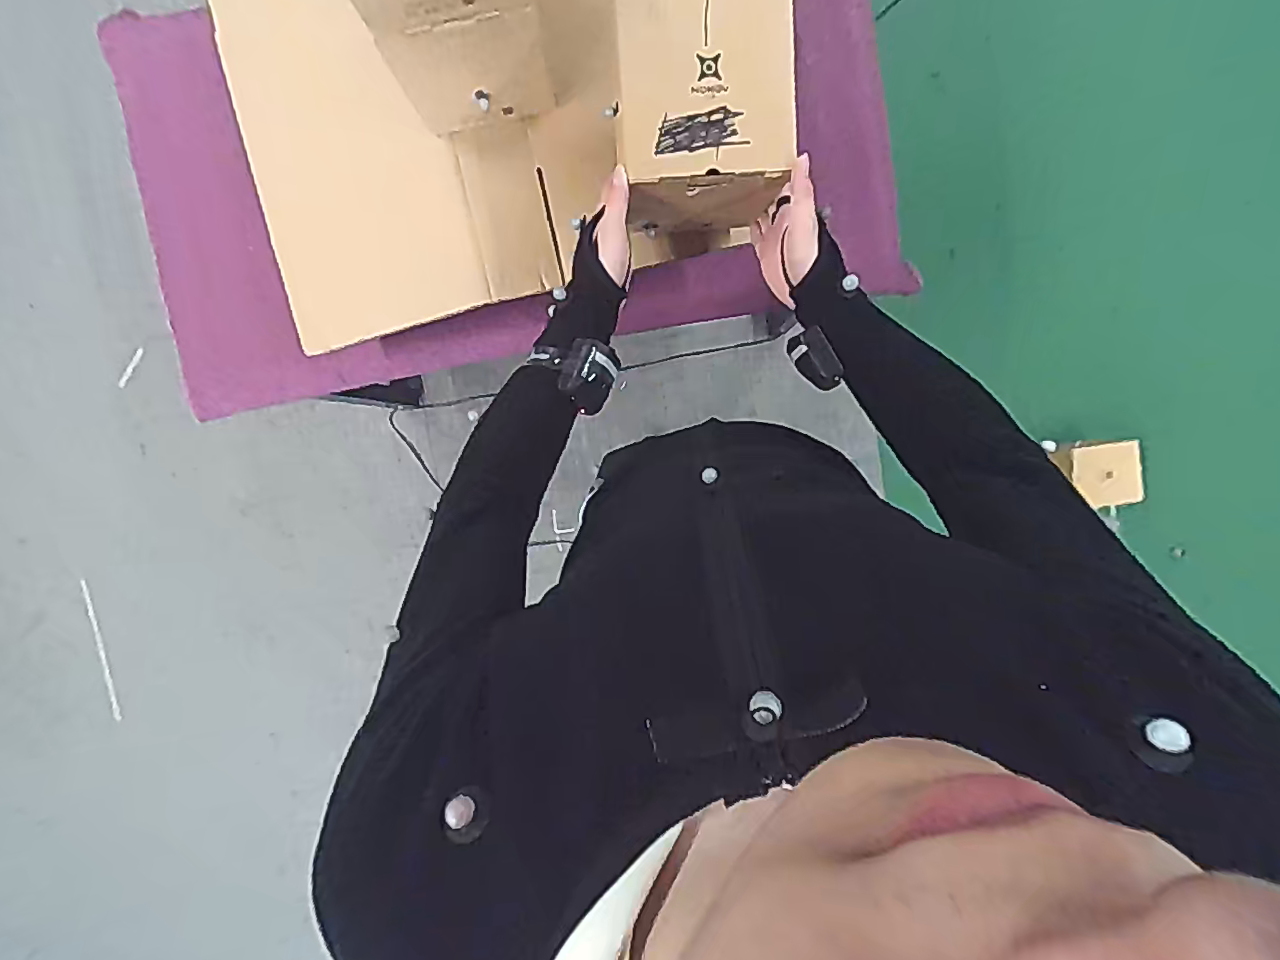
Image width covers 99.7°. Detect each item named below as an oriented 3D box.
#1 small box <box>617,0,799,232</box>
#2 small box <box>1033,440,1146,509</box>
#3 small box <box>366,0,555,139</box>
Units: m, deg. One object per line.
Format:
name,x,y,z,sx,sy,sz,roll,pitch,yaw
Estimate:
small box,0.063,-0.378,0.581,0.168,0.176,0.179,-4,99,-3
small box,1.248,-0.020,1.510,0.179,0.176,0.168,-9,93,3
small box,-0.202,-0.535,0.615,0.168,0.176,0.179,-12,94,1
